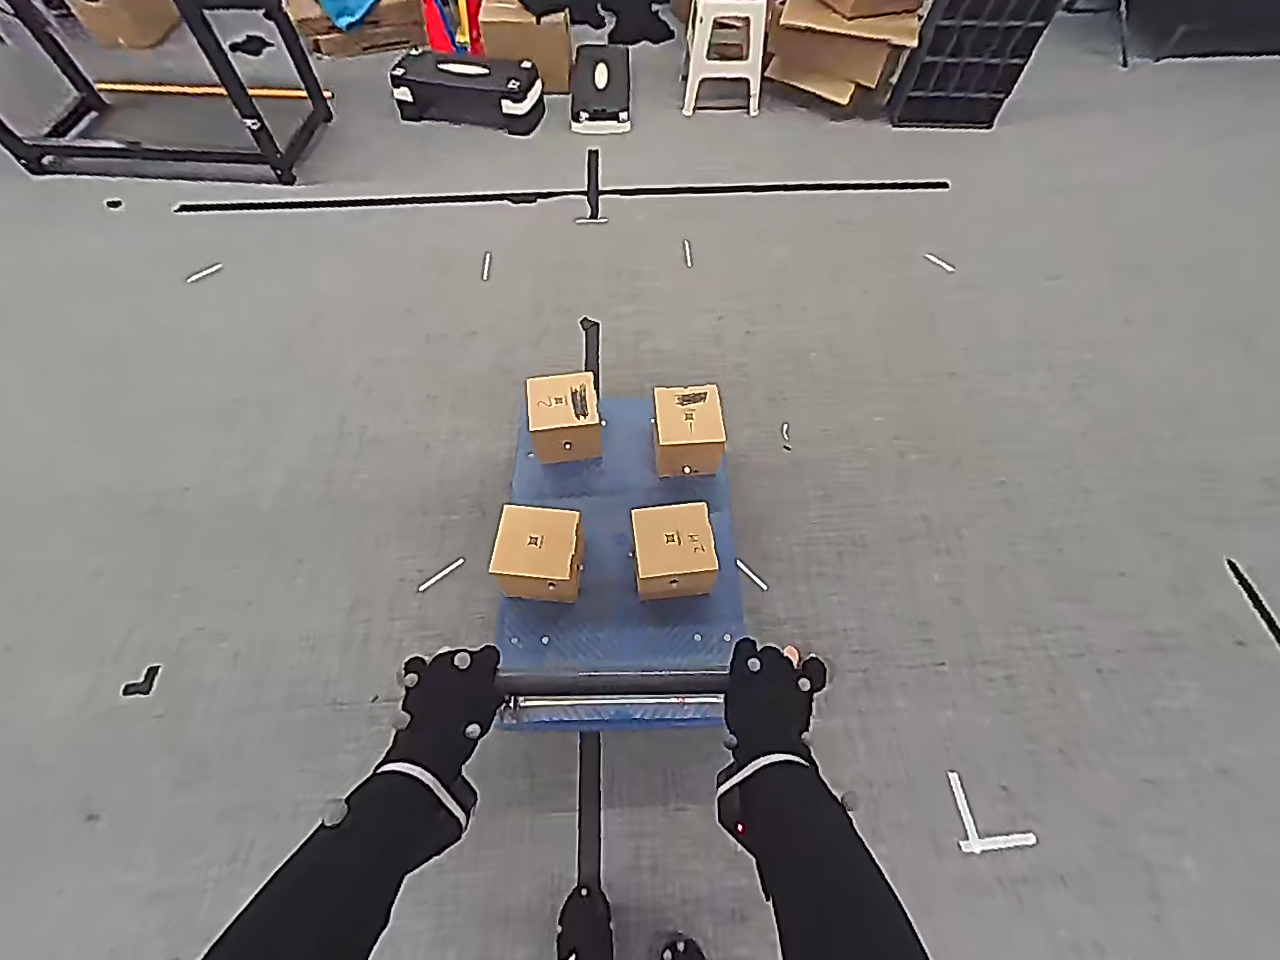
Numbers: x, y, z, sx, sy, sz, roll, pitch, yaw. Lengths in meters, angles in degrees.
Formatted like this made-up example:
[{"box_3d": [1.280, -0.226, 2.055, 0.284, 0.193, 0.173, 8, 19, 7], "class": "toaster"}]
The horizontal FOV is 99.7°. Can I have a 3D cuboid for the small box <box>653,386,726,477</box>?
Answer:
[{"box_3d": [0.123, -0.125, 1.415, 0.168, 0.176, 0.179, -3, 62, -2], "class": "small box"}]

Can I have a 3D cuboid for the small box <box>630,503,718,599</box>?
[{"box_3d": [0.073, 0.170, 1.254, 0.179, 0.176, 0.168, -5, 62, -3], "class": "small box"}]

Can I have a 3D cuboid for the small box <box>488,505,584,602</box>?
[{"box_3d": [-0.231, 0.174, 1.249, 0.179, 0.176, 0.168, 6, 61, 1], "class": "small box"}]
